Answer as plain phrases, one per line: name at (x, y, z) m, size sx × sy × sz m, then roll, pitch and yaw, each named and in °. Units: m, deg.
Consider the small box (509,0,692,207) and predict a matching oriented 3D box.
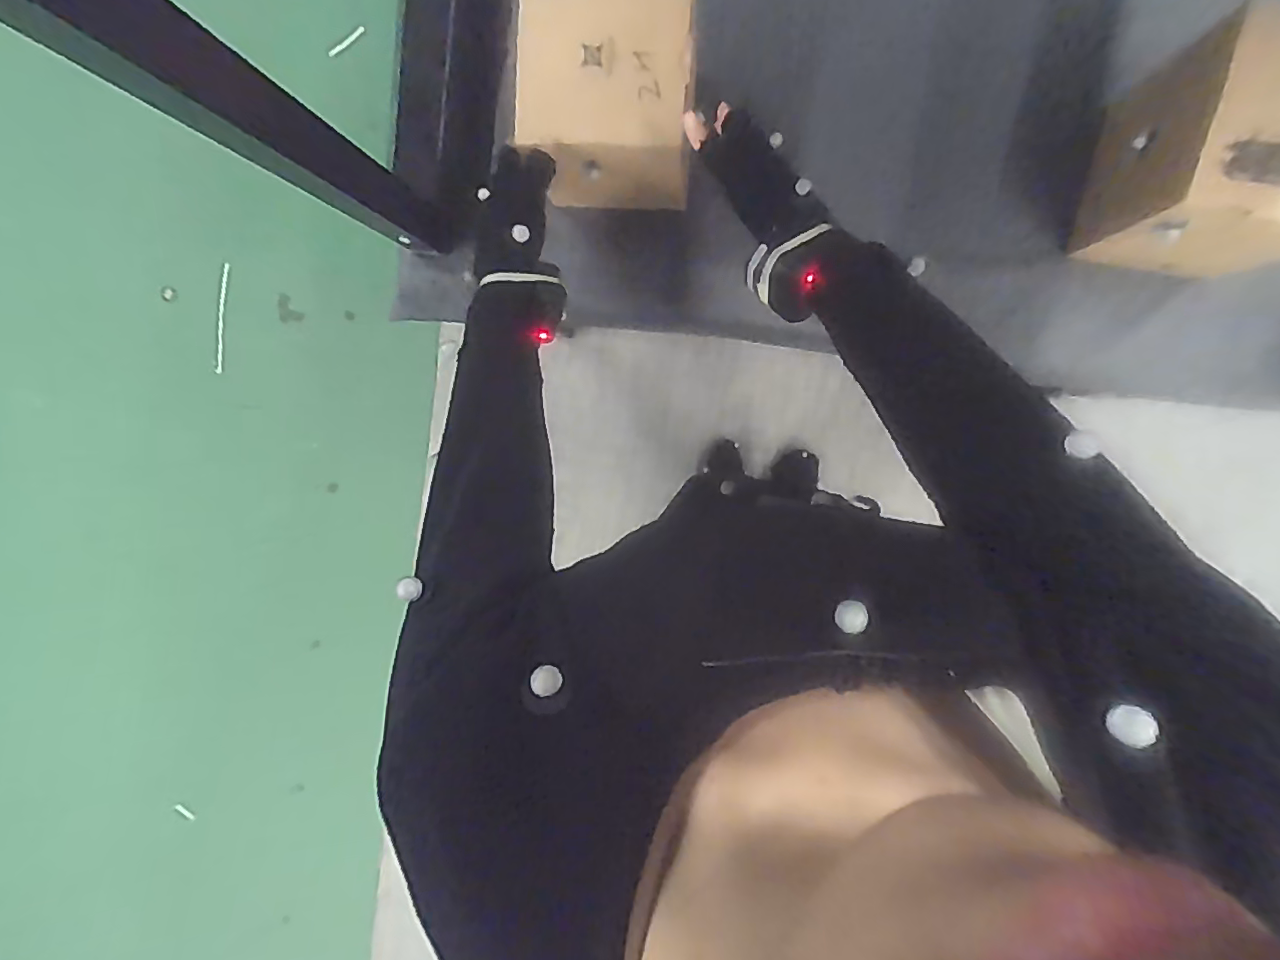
small box at (-0.035, -0.428, 0.617) m, size 0.179 × 0.176 × 0.168 m, roll 5°, pitch 98°, yaw 5°
